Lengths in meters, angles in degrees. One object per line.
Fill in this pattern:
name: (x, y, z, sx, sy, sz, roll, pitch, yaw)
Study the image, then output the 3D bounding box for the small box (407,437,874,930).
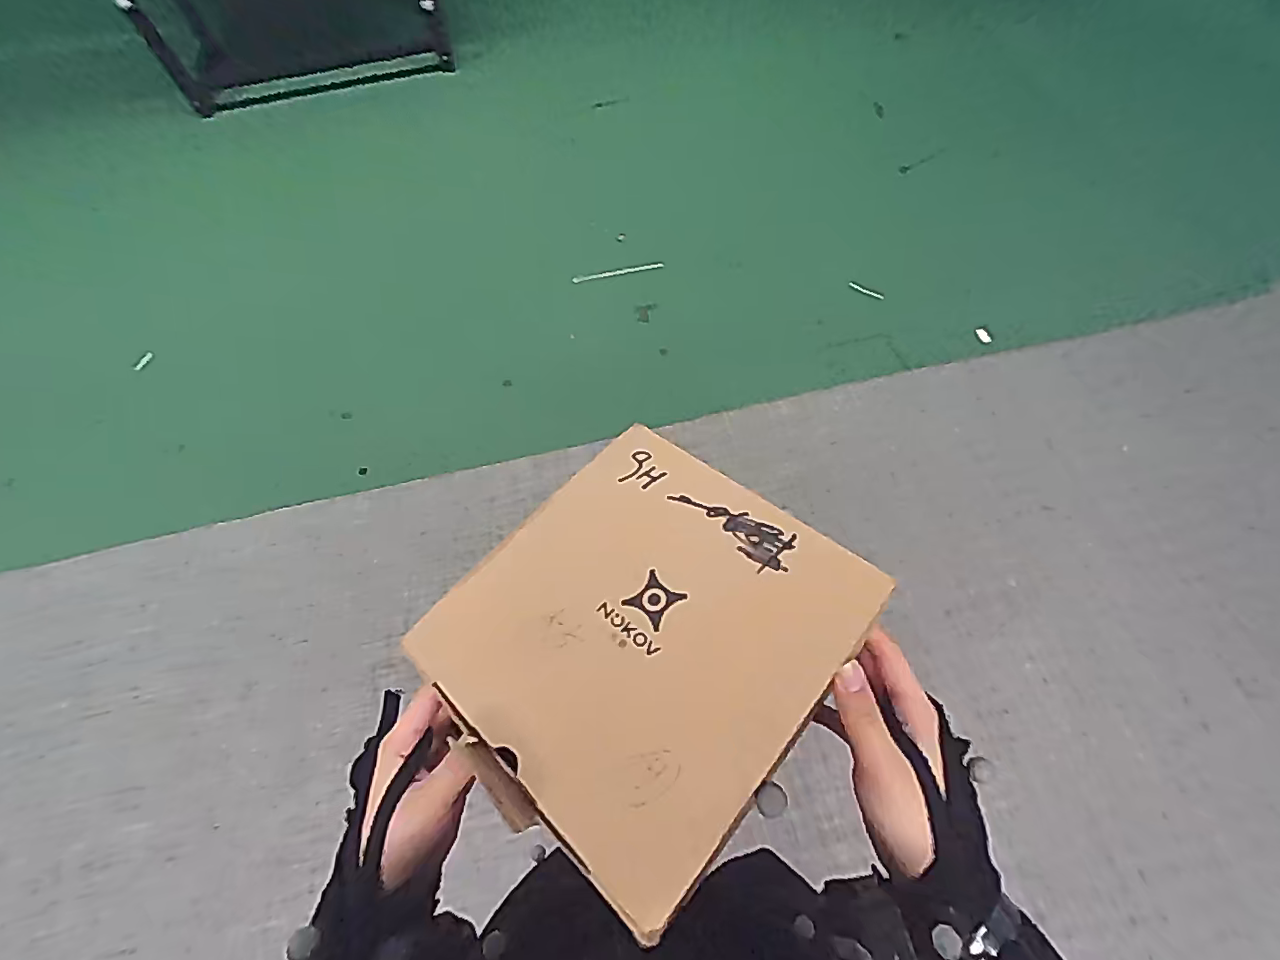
small box: (0.009, 0.115, 0.326, 0.168, 0.176, 0.179, 33, 66, 28)
